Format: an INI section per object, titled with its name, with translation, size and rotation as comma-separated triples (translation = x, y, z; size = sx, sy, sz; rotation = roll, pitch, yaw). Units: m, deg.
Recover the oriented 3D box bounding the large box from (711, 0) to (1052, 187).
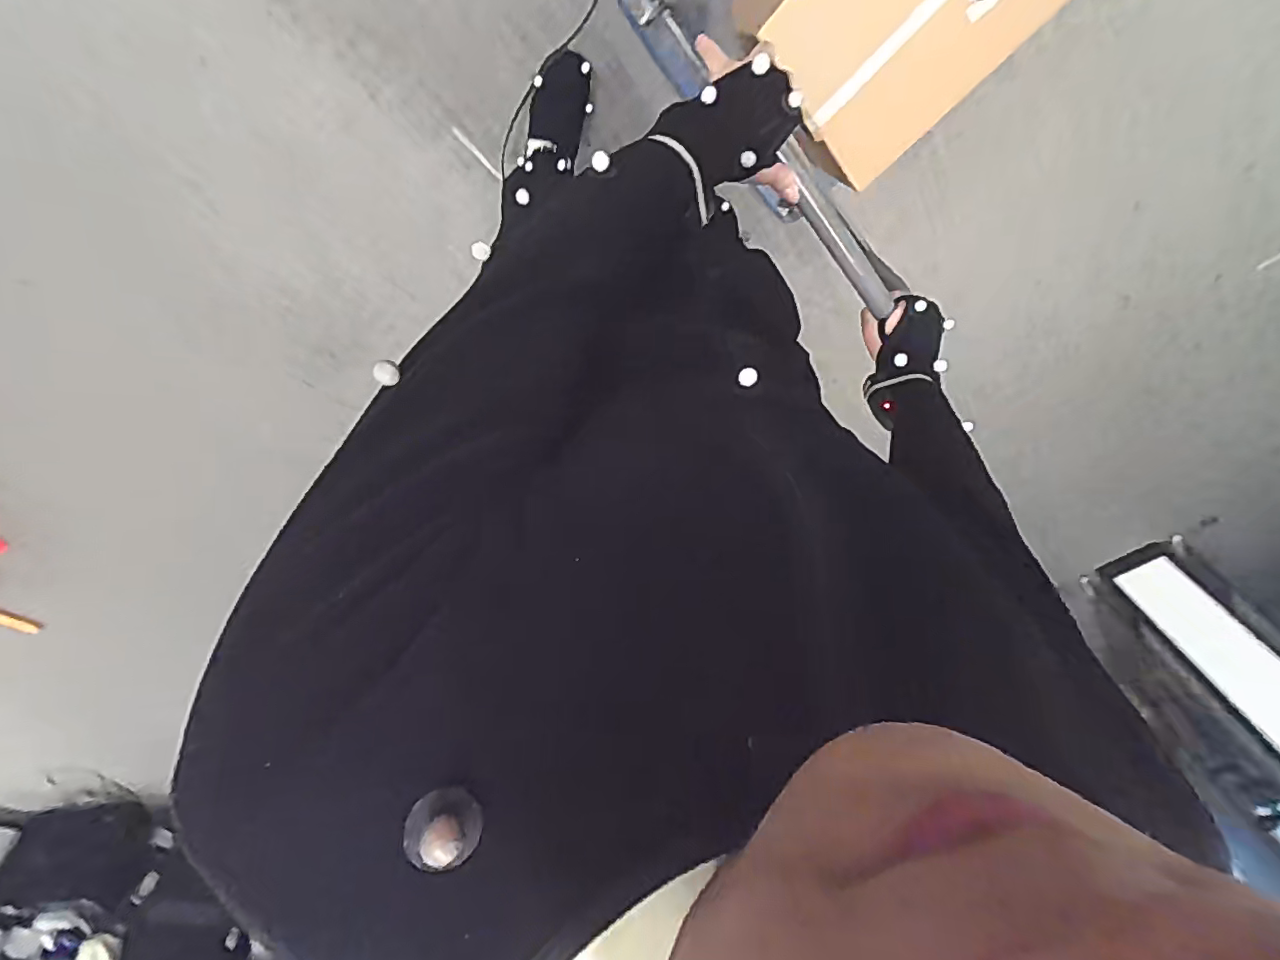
[large box]
translation = 0.387, -0.795, 0.902
size = 0.408, 0.320, 0.320
rotation = -40, 126, 23
